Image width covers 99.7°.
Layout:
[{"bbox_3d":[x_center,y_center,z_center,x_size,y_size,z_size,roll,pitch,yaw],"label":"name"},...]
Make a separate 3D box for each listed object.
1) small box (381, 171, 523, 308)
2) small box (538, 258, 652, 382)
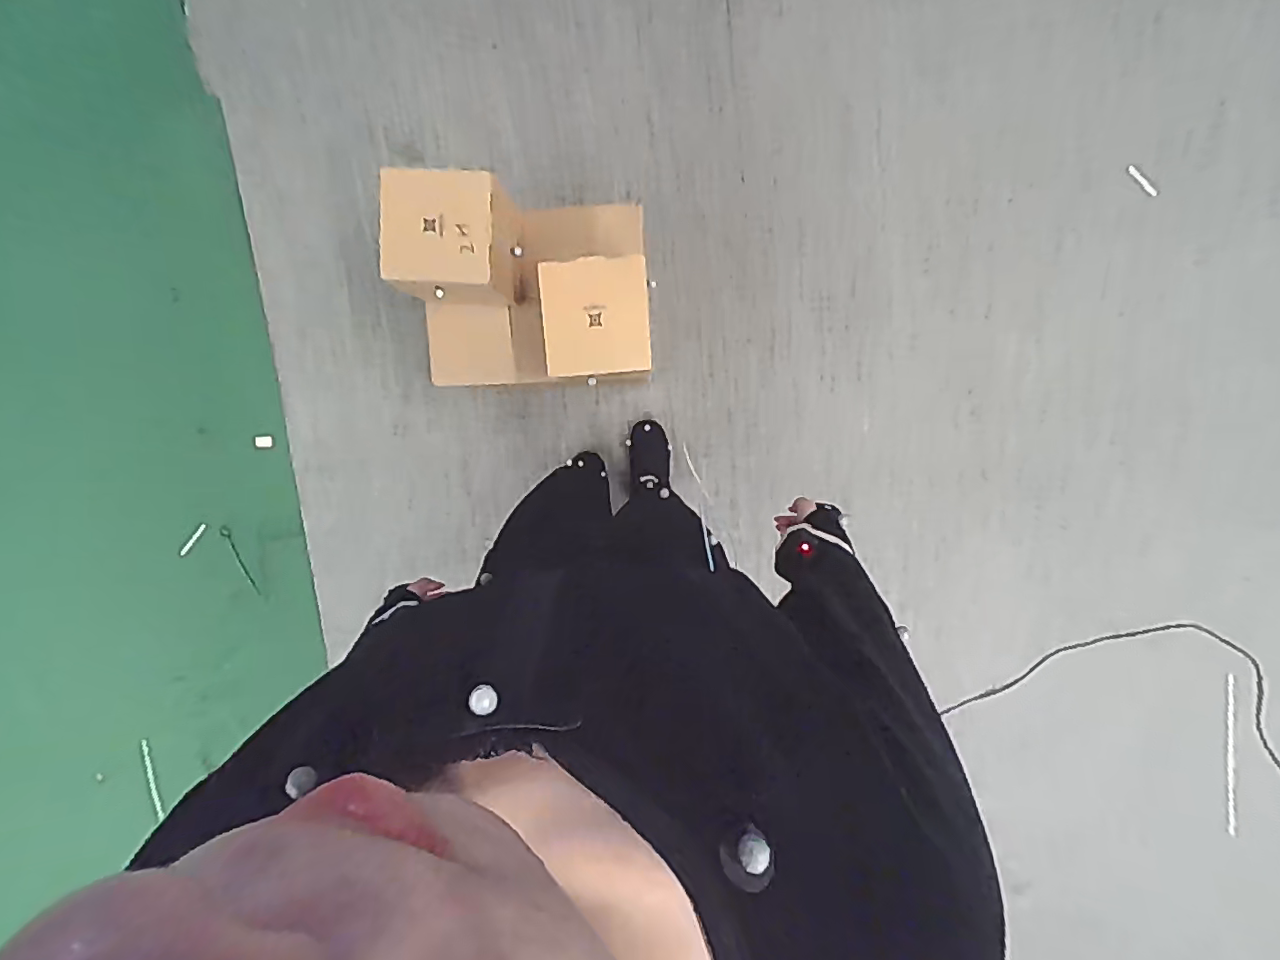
[{"bbox_3d":[-0.308,-0.393,0.909,0.179,0.176,0.168,4,97,2],"label":"small box"},{"bbox_3d":[-0.067,-0.258,0.913,0.168,0.176,0.179,-4,97,3],"label":"small box"}]
